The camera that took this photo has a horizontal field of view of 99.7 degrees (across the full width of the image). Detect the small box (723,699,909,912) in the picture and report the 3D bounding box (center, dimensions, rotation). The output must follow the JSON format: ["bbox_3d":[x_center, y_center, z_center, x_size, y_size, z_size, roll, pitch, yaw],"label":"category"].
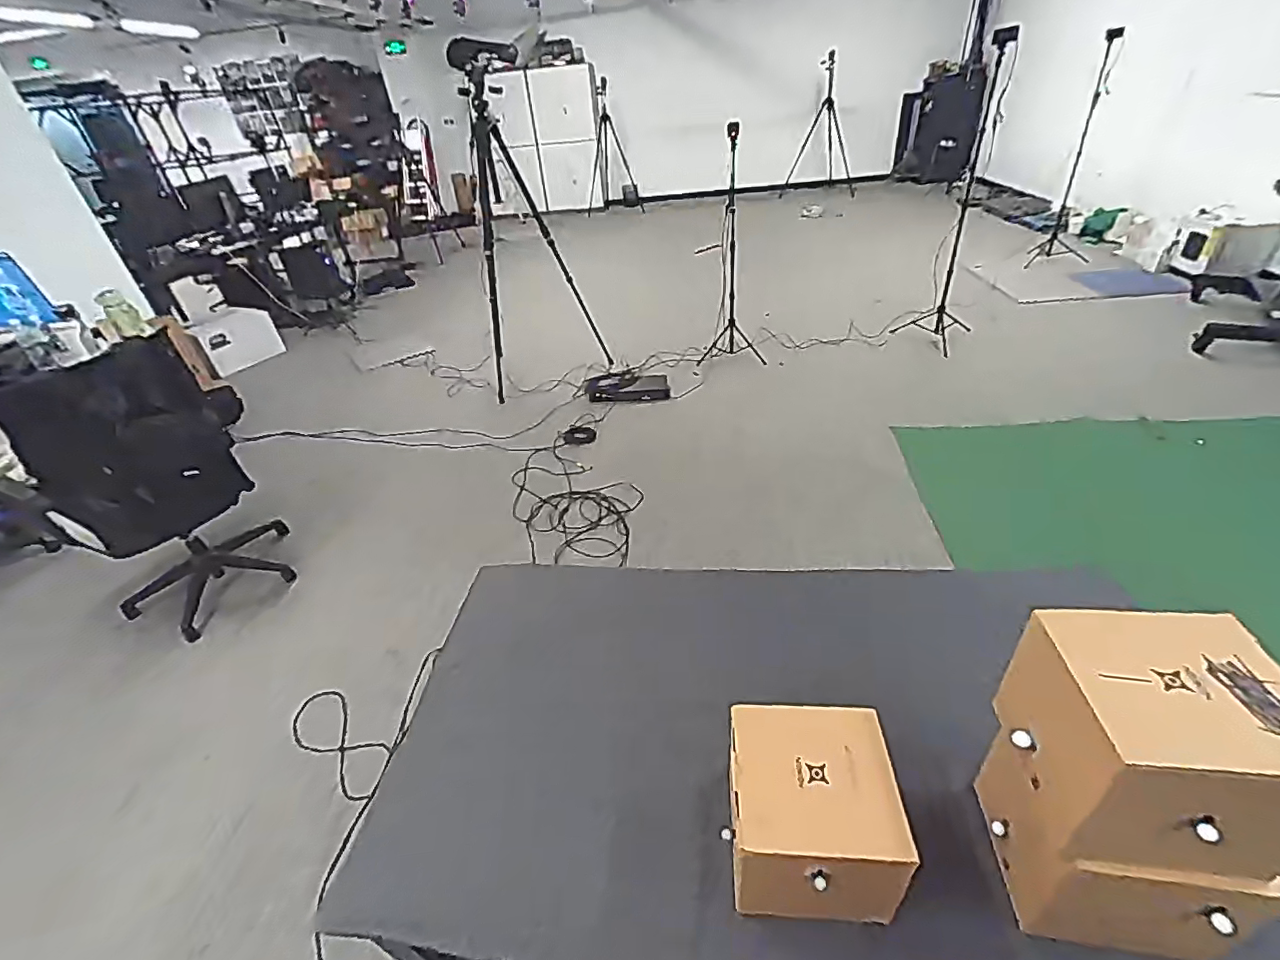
[{"bbox_3d":[0.191,0.385,0.644,0.179,0.176,0.168,-1,36,6],"label":"small box"}]

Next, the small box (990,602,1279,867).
[{"bbox_3d":[0.476,0.239,0.517,0.179,0.176,0.168,0,34,11],"label":"small box"}]

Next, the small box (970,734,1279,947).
[{"bbox_3d":[0.502,0.379,0.597,0.179,0.176,0.168,2,35,11],"label":"small box"}]
